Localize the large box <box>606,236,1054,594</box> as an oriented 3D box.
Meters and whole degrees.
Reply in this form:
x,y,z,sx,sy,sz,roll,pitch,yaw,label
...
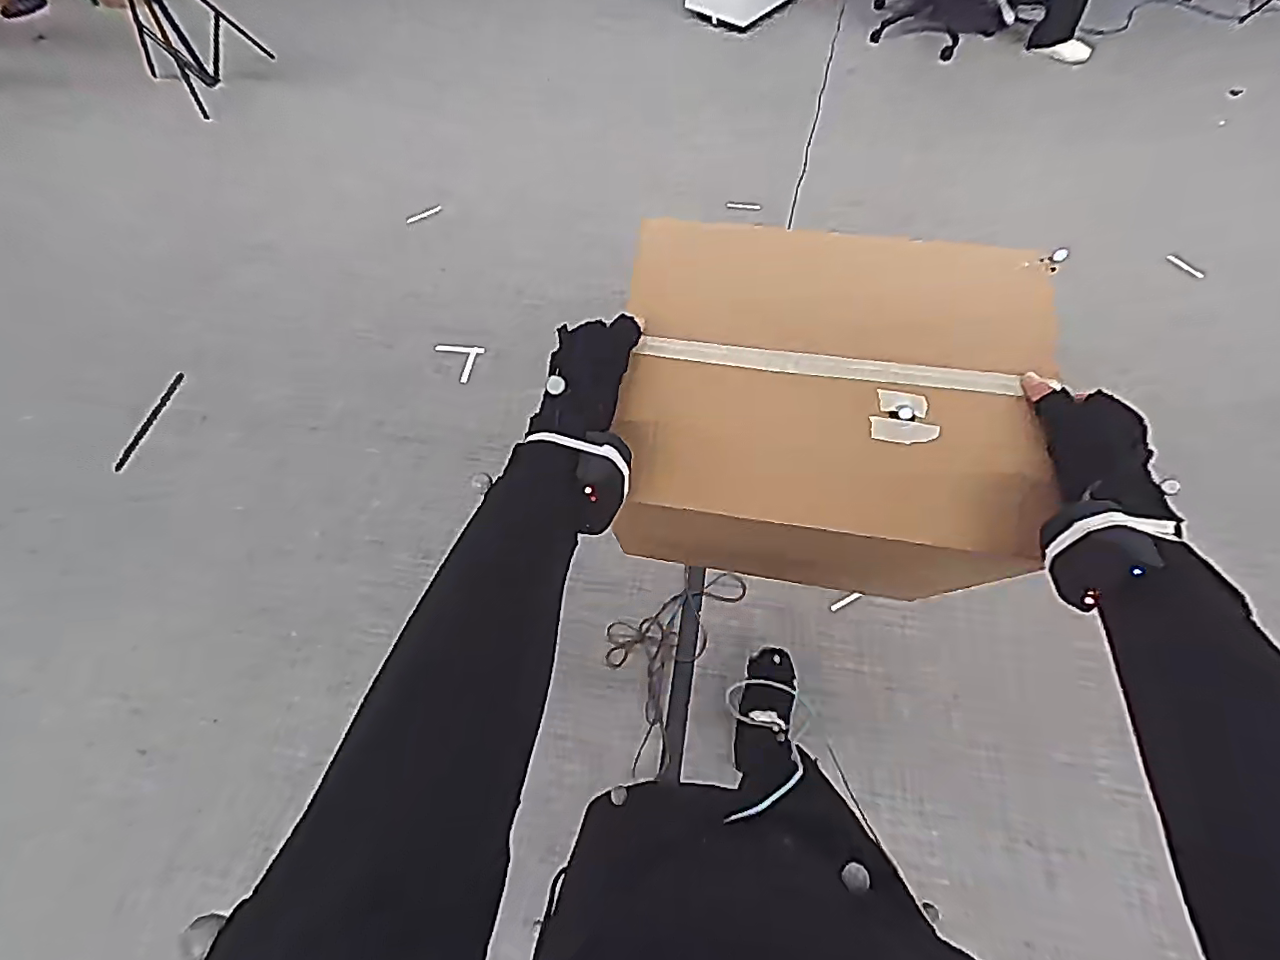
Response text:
x,y,z,sx,sy,sz,roll,pitch,yaw,label
0.194,-0.056,0.670,0.408,0.320,0.320,8,74,7,large box
